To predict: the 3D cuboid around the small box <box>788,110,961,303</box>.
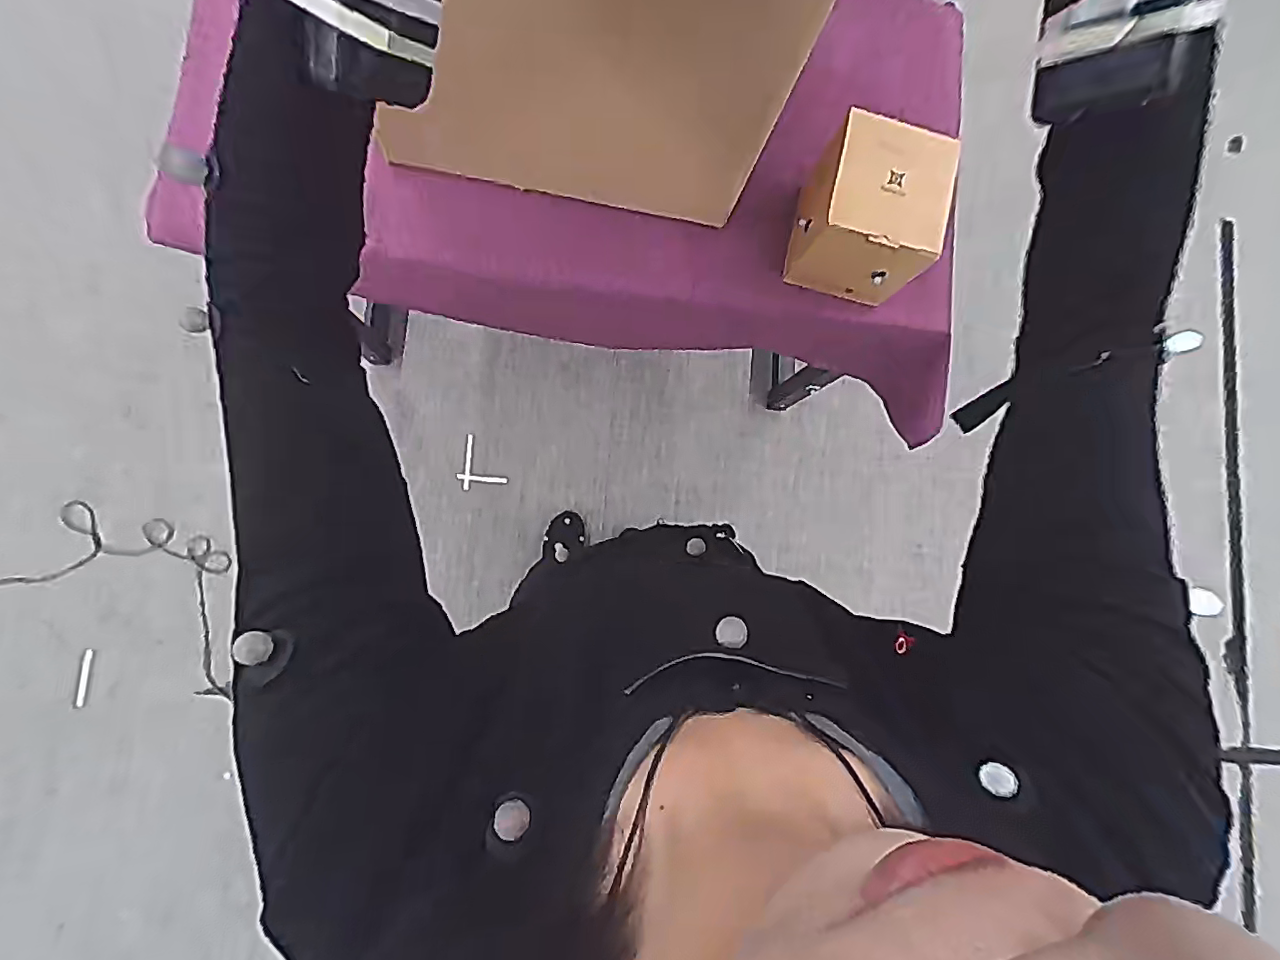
[{"bbox_3d":[0.336,-0.390,0.805,0.168,0.176,0.179,13,82,-5],"label":"small box"}]
